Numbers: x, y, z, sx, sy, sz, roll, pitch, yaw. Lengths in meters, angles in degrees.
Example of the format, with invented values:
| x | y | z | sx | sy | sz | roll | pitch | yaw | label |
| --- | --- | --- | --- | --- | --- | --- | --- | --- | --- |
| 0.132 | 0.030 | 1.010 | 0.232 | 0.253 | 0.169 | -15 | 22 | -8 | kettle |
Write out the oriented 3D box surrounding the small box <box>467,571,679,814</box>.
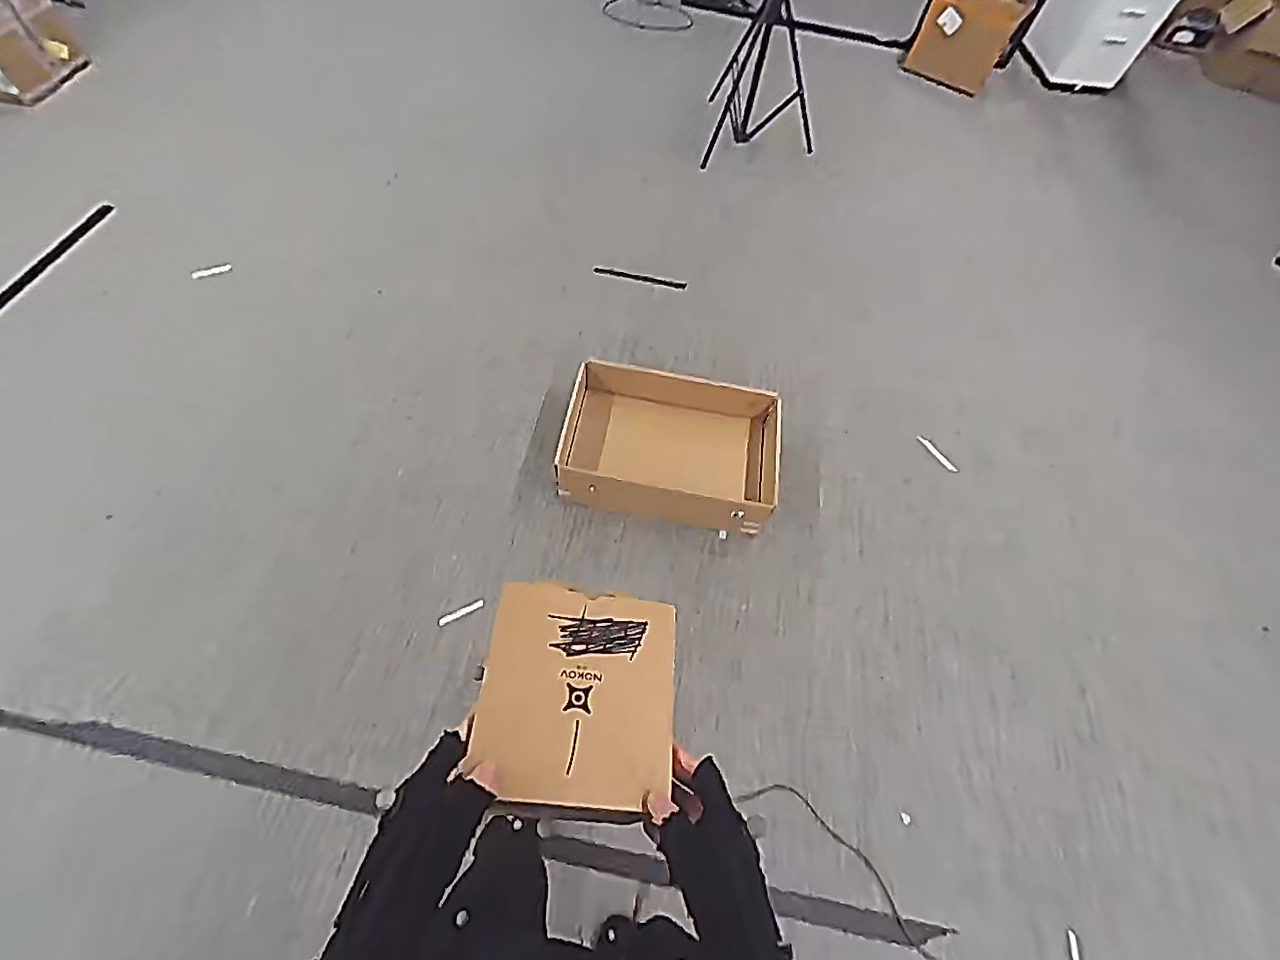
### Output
| x | y | z | sx | sy | sz | roll | pitch | yaw | label |
| --- | --- | --- | --- | --- | --- | --- | --- | --- | --- |
| -0.064 | 0.213 | 0.528 | 0.168 | 0.176 | 0.179 | 10 | 55 | -8 | small box |
